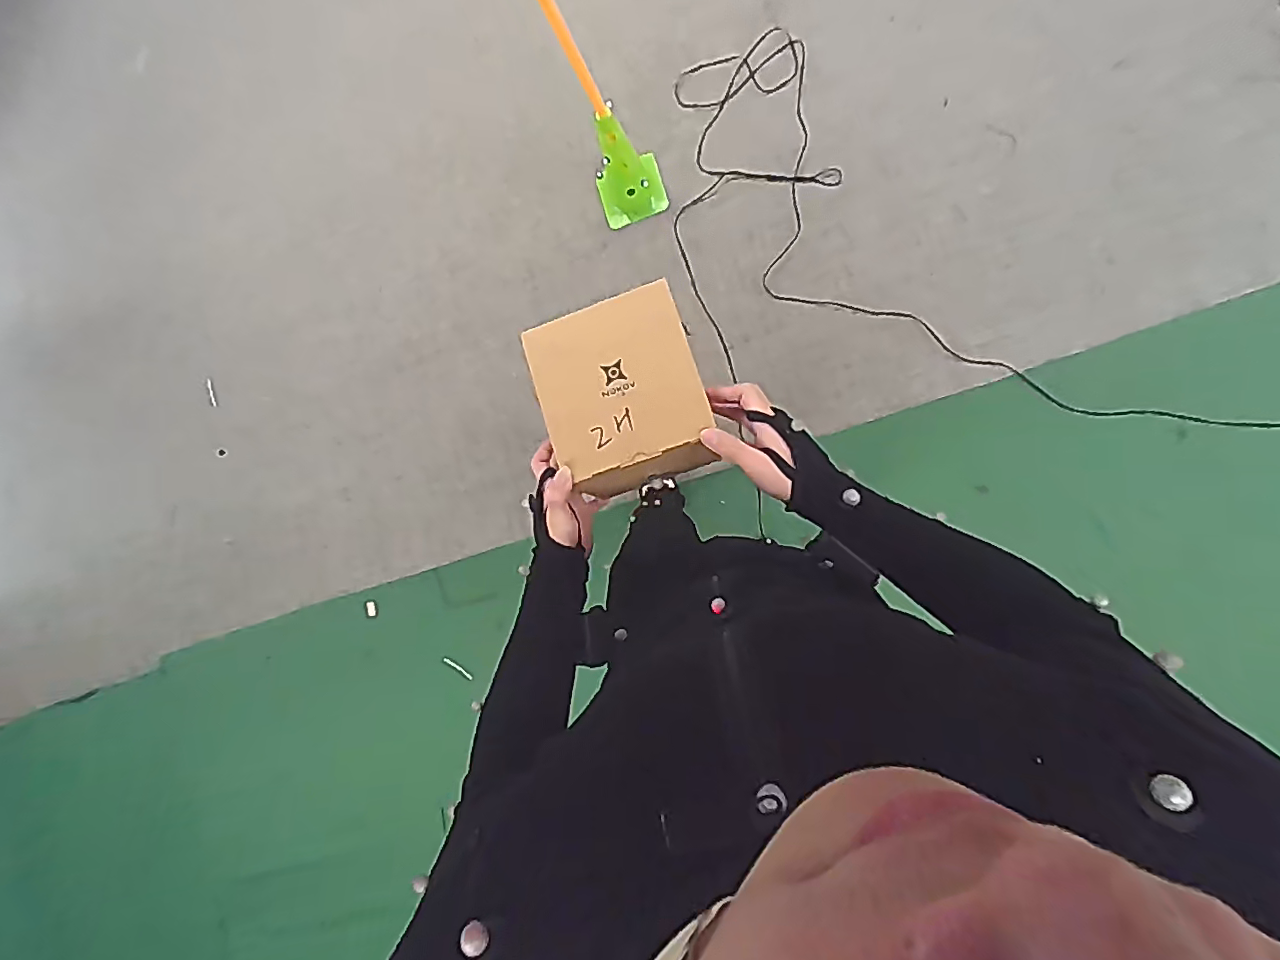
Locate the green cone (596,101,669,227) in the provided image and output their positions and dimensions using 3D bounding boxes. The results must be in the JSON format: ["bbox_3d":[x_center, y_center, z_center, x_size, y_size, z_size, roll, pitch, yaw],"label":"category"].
[{"bbox_3d":[-0.054,-0.918,1.529,0.202,0.368,0.200,-18,84,9],"label":"green cone"}]
